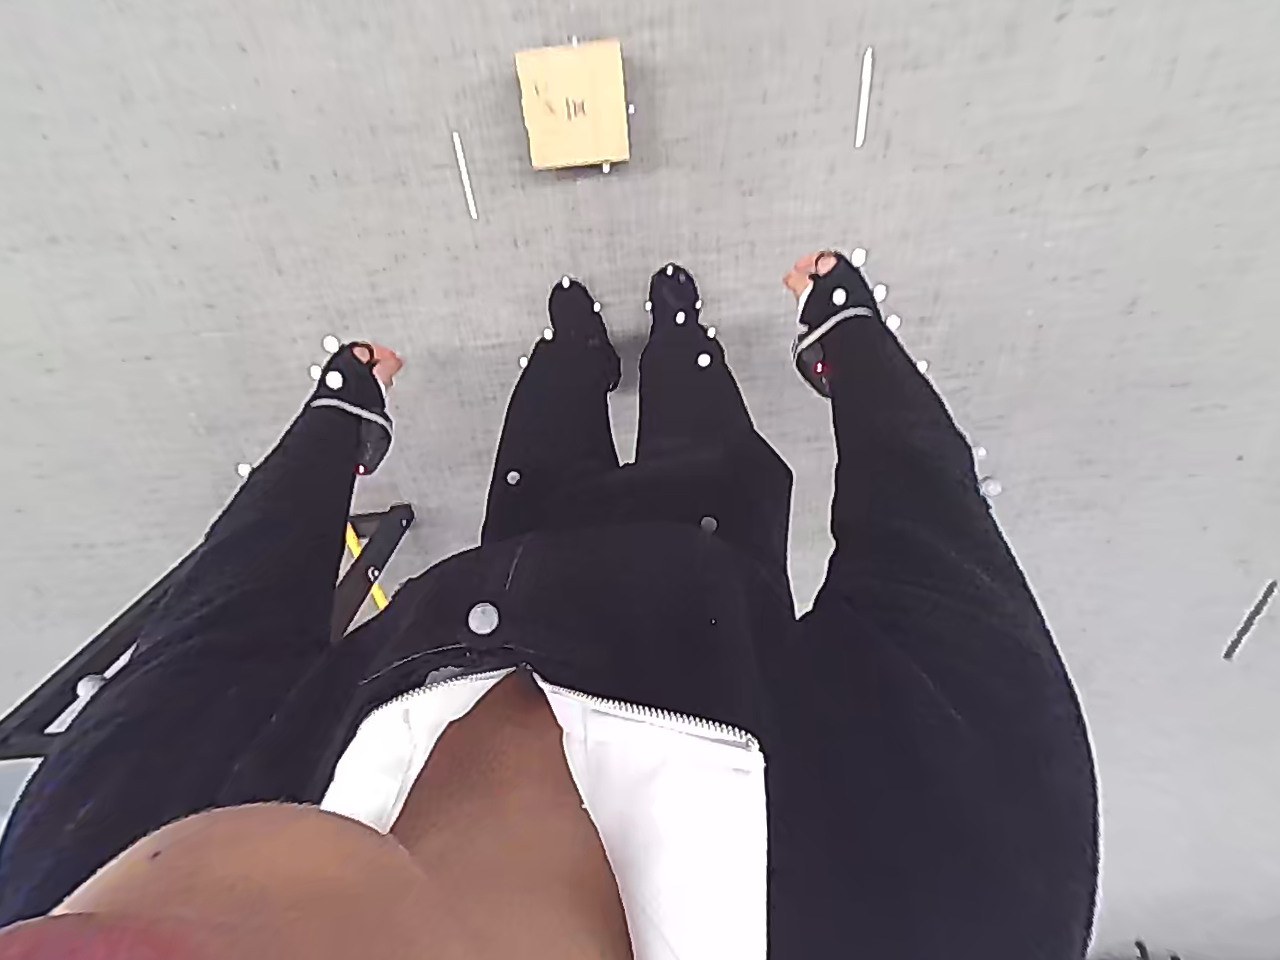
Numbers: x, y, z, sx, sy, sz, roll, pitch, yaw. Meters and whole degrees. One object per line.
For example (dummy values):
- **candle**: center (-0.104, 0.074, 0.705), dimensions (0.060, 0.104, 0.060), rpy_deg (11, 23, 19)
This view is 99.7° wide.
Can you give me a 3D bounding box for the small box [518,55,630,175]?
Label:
- **small box**: center (-0.112, -0.667, 0.999), dimensions (0.179, 0.176, 0.168), rpy_deg (-4, 121, 2)
